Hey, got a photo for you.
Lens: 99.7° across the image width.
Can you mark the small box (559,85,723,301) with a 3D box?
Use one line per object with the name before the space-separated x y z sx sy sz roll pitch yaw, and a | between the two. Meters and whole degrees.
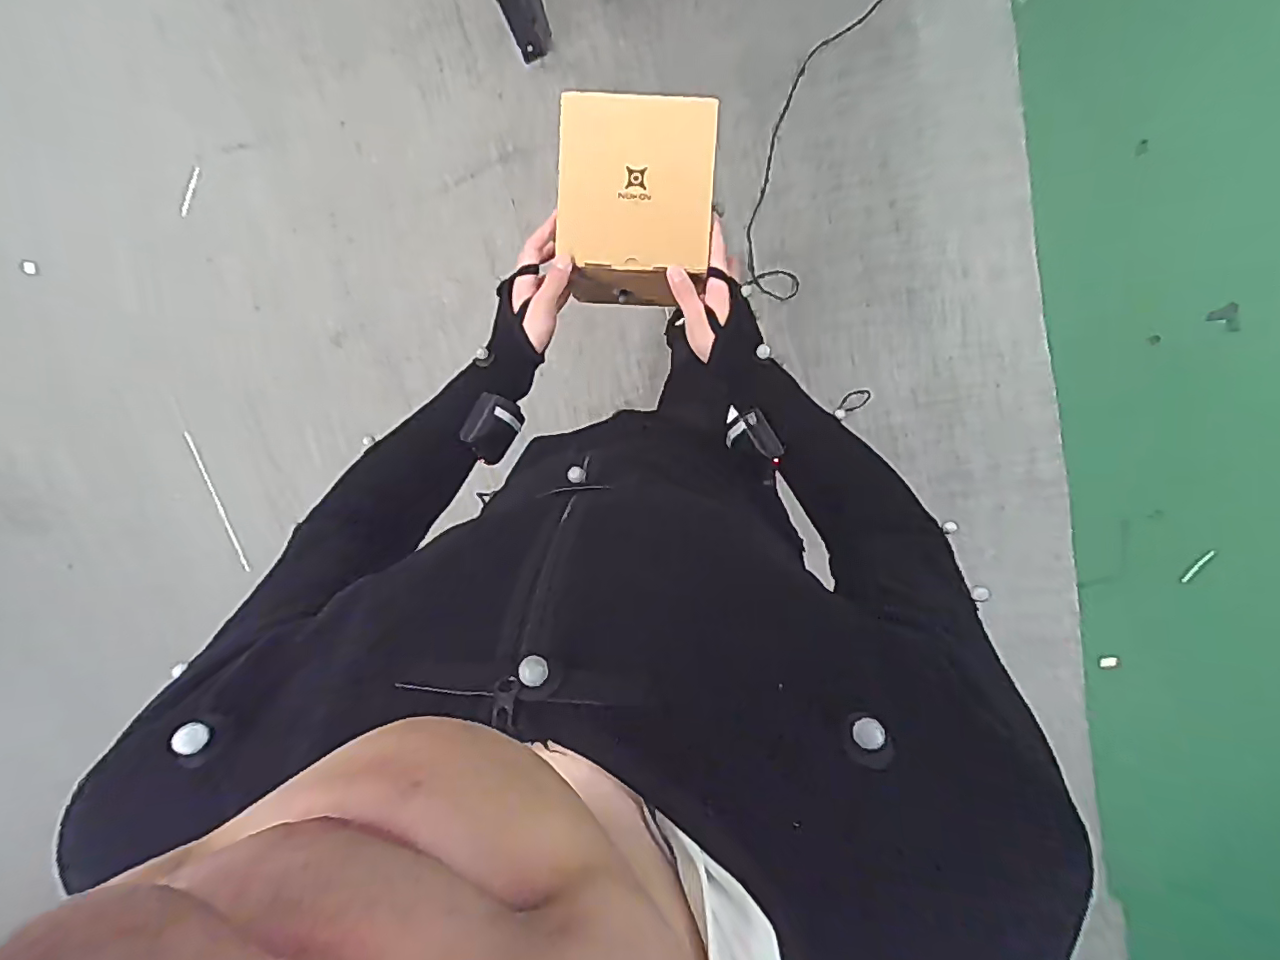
small box | 0.000 -0.325 0.645 0.168 0.176 0.179 3 97 0
